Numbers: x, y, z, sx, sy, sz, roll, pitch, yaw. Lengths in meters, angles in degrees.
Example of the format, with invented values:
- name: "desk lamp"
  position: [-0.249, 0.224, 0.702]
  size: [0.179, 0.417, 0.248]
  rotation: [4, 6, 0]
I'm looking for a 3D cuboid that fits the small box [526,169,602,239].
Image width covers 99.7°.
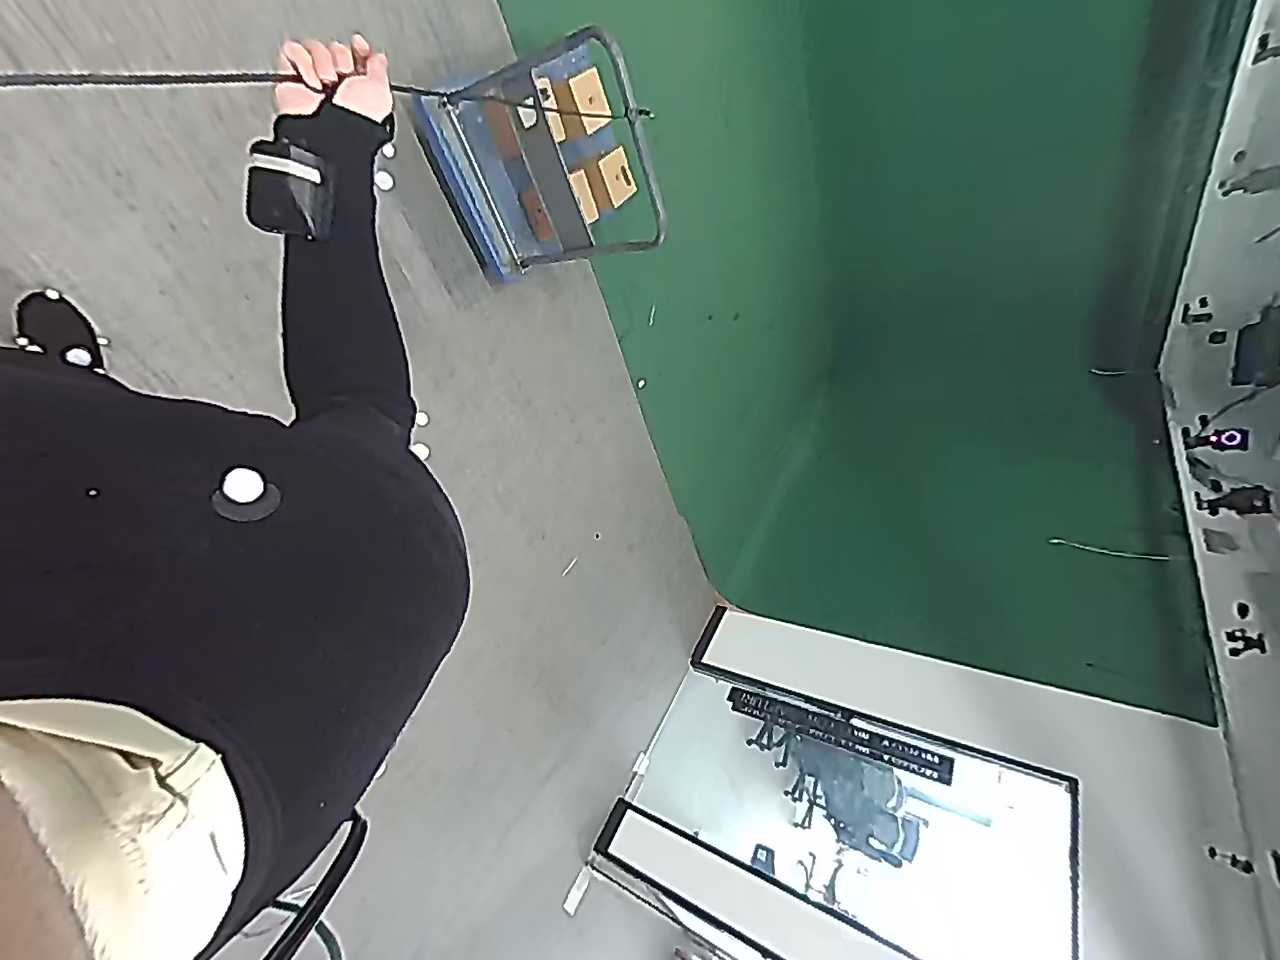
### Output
- name: "small box"
  position: [-0.267, -0.969, 1.904]
  size: [0.179, 0.176, 0.168]
  rotation: [-51, 134, -36]

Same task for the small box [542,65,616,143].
- name: "small box"
  position: [-0.221, -1.322, 1.908]
  size: [0.179, 0.176, 0.168]
  rotation: [-56, 137, -33]

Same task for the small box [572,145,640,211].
- name: "small box"
  position: [-0.133, -1.143, 2.061]
  size: [0.179, 0.176, 0.168]
  rotation: [-55, 135, -33]
